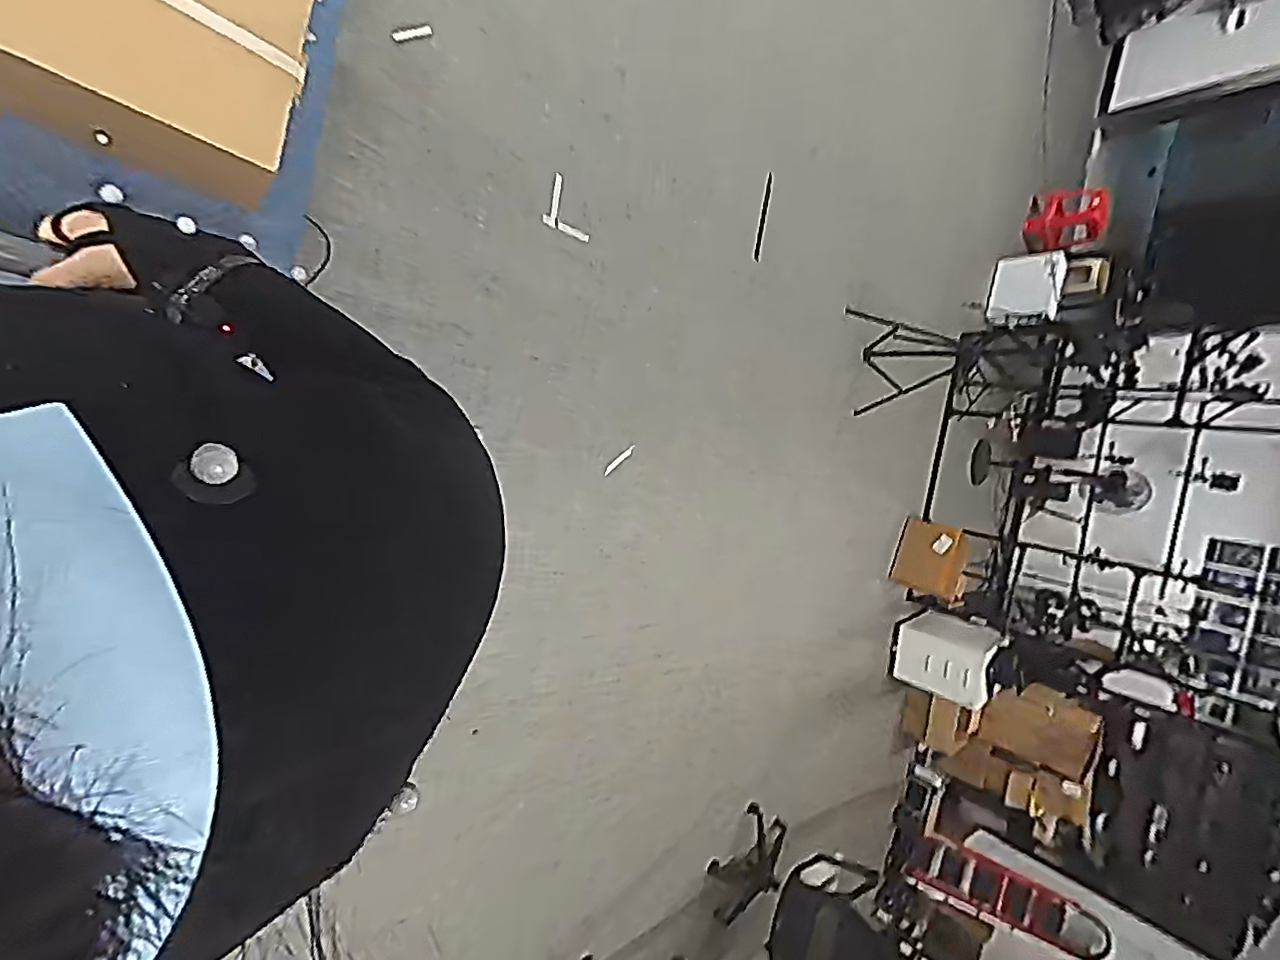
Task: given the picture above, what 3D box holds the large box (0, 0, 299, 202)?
[{"bbox_3d":[-0.782,-0.683,0.807,0.408,0.320,0.320,11,91,-42],"label":"large box"}]
